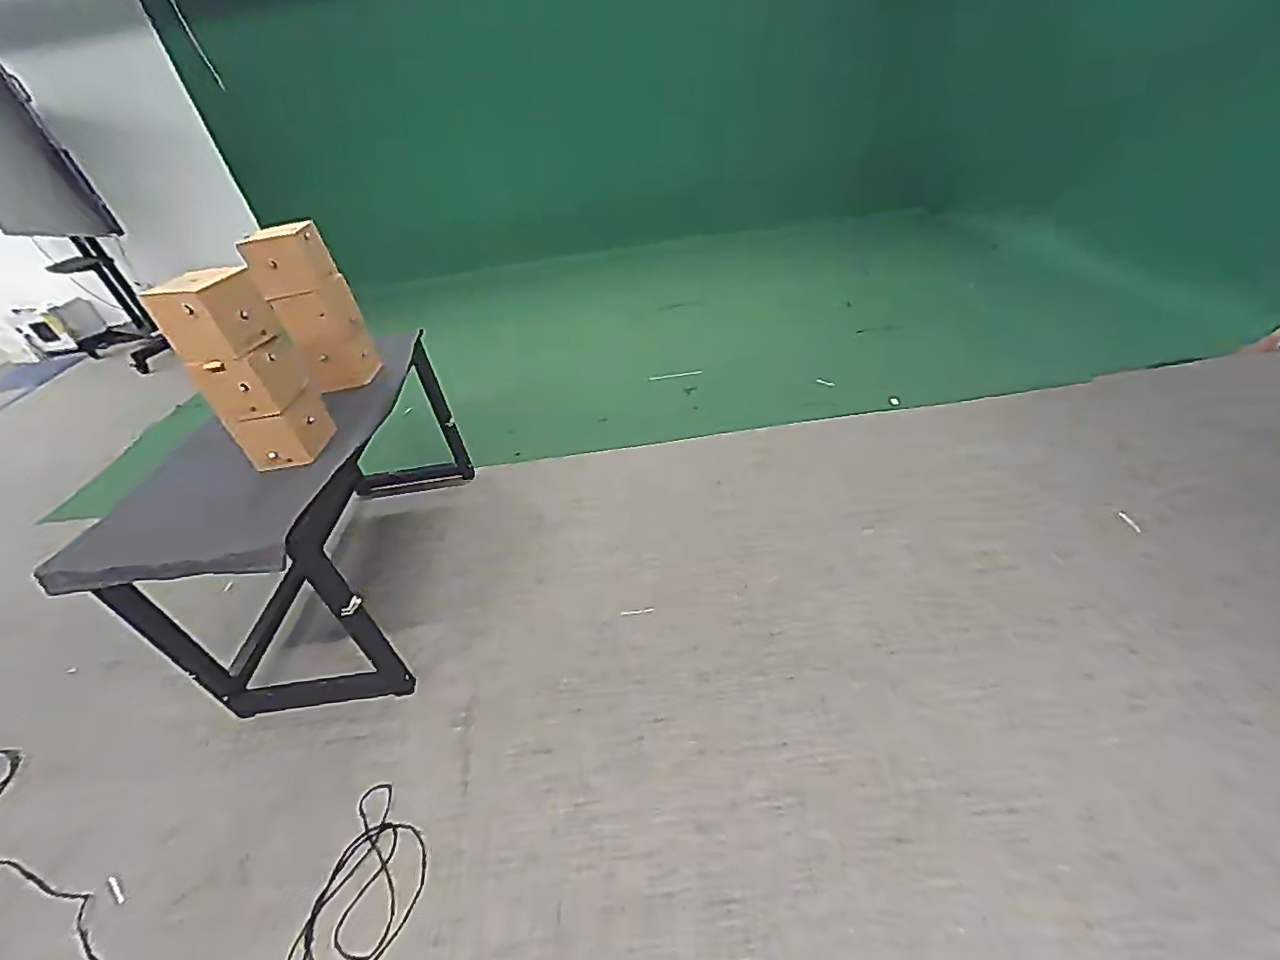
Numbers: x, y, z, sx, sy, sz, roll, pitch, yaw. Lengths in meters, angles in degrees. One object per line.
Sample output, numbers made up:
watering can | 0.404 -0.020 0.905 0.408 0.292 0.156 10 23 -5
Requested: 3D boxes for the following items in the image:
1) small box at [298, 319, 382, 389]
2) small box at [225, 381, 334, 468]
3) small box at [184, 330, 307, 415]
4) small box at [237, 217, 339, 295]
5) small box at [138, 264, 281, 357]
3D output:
small box | -1.026 -0.434 1.869 0.179 0.176 0.168 -9 39 3
small box | -1.000 -0.157 1.522 0.168 0.176 0.179 -8 39 3
small box | -1.019 -0.280 1.418 0.168 0.176 0.179 -6 38 3
small box | -1.072 -0.685 1.662 0.179 0.176 0.168 -11 39 0
small box | -1.033 -0.410 1.317 0.179 0.176 0.168 1 39 13
